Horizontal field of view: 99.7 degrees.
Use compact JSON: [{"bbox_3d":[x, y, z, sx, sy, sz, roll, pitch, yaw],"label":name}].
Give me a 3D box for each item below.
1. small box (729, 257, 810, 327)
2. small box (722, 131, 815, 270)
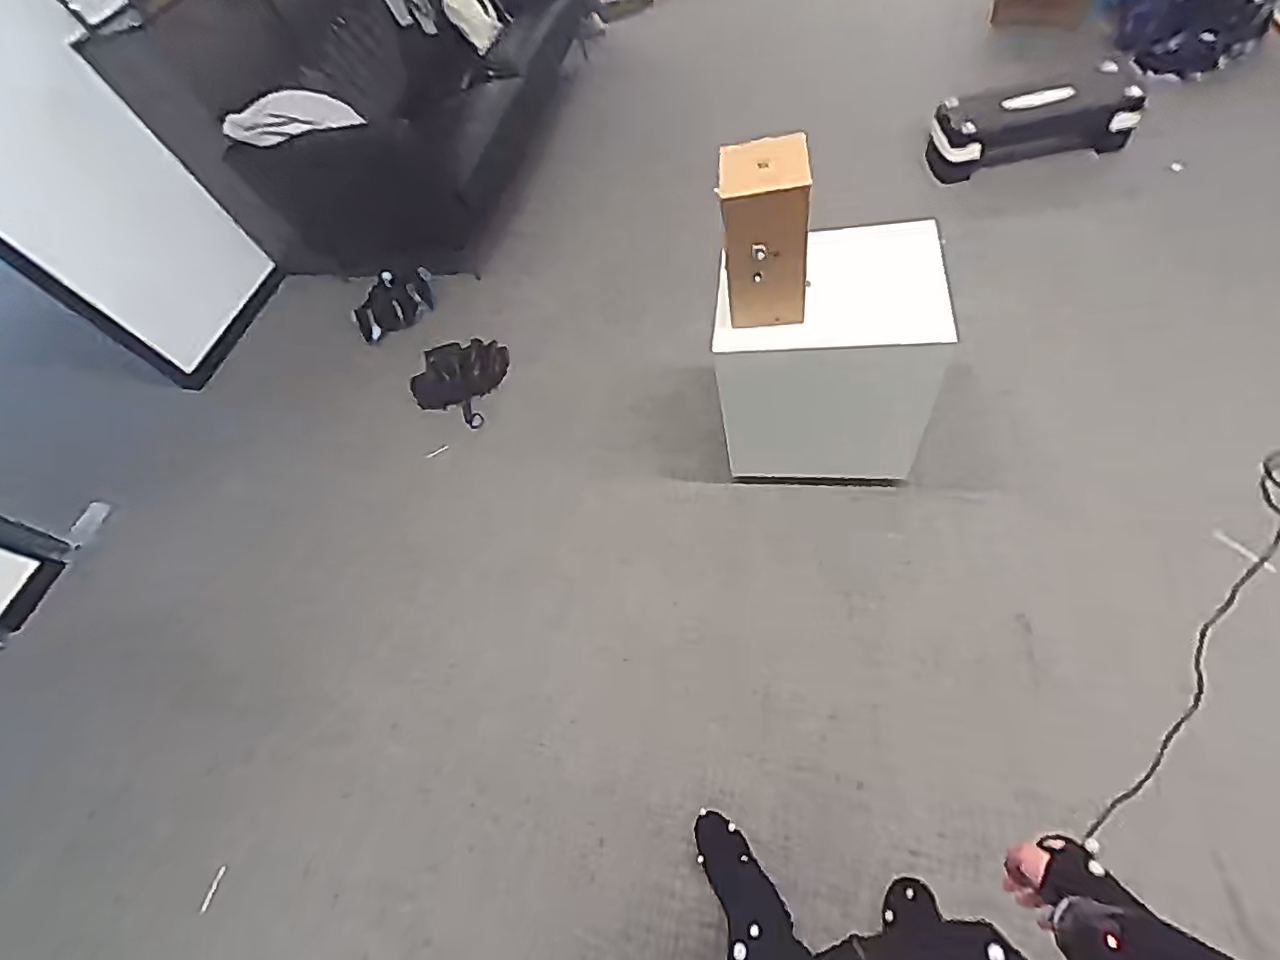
[{"bbox_3d":[0.292,-0.471,1.219,0.168,0.176,0.179,-1,59,15],"label":"small box"},{"bbox_3d":[0.255,-0.553,1.083,0.168,0.176,0.179,-3,59,14],"label":"small box"}]
